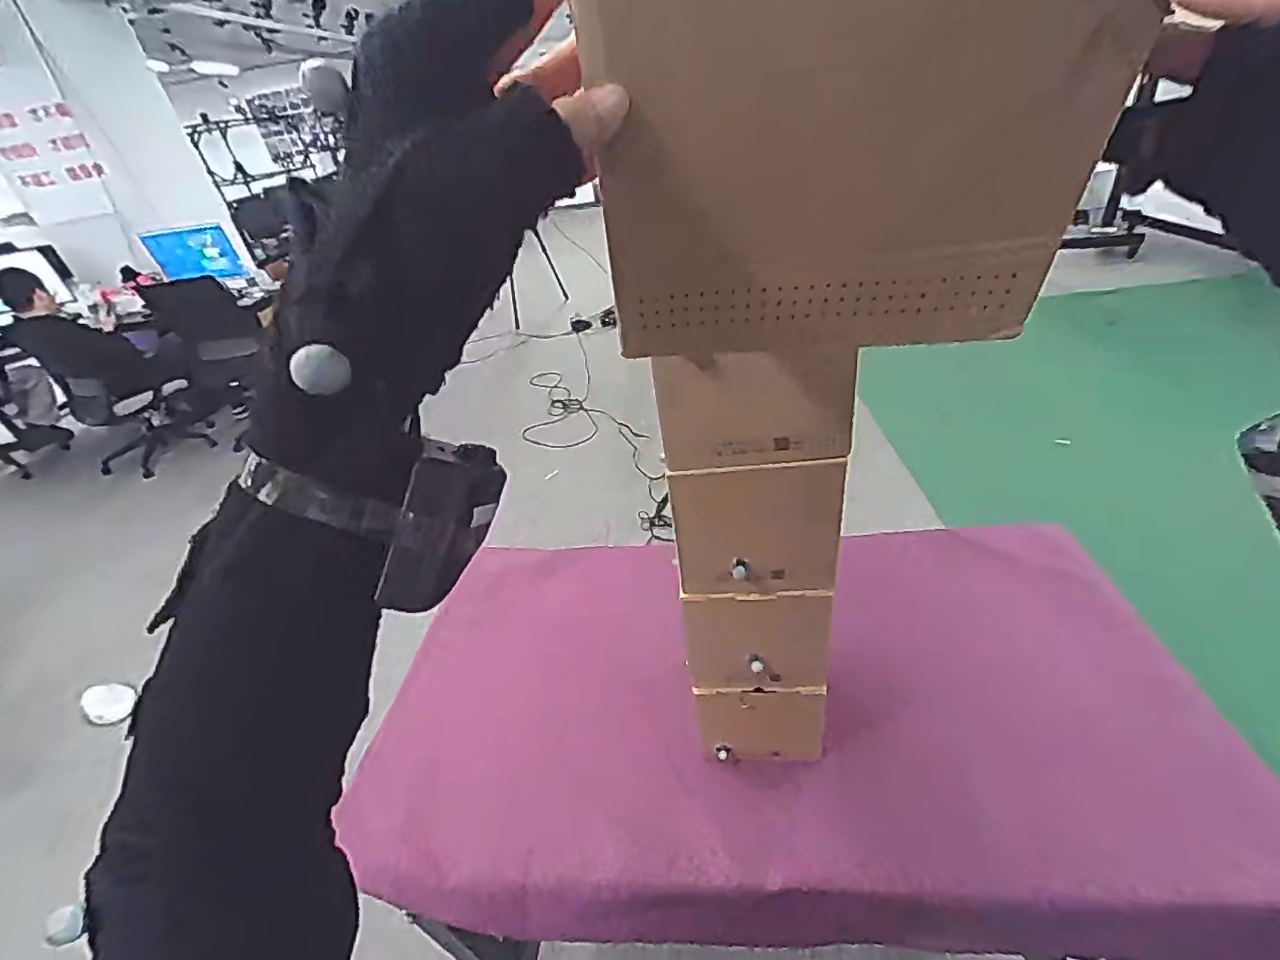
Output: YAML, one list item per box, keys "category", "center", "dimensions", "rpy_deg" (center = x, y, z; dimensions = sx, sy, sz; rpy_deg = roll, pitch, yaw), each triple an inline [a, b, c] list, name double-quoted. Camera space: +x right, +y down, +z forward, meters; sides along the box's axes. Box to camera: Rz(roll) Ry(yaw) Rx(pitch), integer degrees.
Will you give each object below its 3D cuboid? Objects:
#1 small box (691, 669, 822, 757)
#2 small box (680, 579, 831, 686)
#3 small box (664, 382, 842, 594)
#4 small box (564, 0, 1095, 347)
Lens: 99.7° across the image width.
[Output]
- category: "small box"
  center: [0.166, 0.279, 0.787]
  dimensions: [0.168, 0.176, 0.179]
  rpy_deg: [-3, 35, 9]
- category: "small box"
  center: [0.143, 0.142, 0.700]
  dimensions: [0.168, 0.176, 0.179]
  rpy_deg: [-4, 36, 9]
- category: "small box"
  center: [0.121, 0.007, 0.611]
  dimensions: [0.168, 0.176, 0.179]
  rpy_deg: [-4, 35, 9]
- category: "small box"
  center: [0.068, -0.174, 0.249]
  dimensions: [0.179, 0.176, 0.168]
  rpy_deg: [-1, 46, 5]
